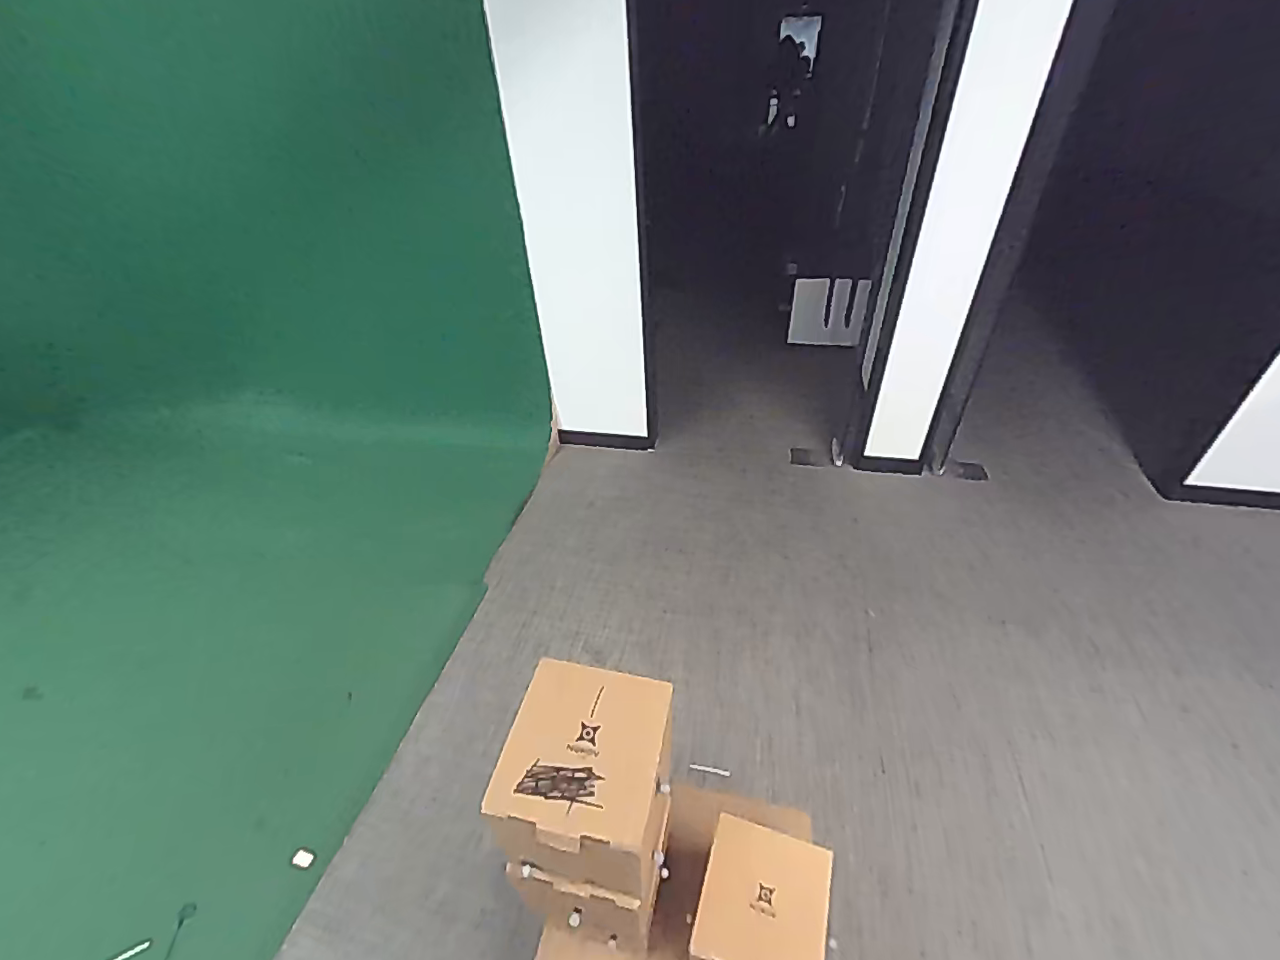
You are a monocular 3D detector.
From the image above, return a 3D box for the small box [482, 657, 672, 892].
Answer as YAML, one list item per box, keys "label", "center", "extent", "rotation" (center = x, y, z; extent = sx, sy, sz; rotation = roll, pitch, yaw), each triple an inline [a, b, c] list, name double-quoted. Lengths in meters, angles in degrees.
- label: "small box"
  center: [-0.057, 0.340, 0.629]
  extent: [0.168, 0.176, 0.179]
  rotation: [7, 39, 10]

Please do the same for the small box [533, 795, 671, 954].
- label: "small box"
  center: [-0.049, 0.592, 0.840]
  extent: [0.168, 0.176, 0.179]
  rotation: [9, 40, 12]

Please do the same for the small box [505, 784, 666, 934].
- label: "small box"
  center: [-0.058, 0.472, 0.728]
  extent: [0.168, 0.176, 0.179]
  rotation: [8, 41, 10]

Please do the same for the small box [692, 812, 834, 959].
- label: "small box"
  center: [0.175, 0.626, 0.776]
  extent: [0.168, 0.176, 0.179]
  rotation: [9, 40, 18]
